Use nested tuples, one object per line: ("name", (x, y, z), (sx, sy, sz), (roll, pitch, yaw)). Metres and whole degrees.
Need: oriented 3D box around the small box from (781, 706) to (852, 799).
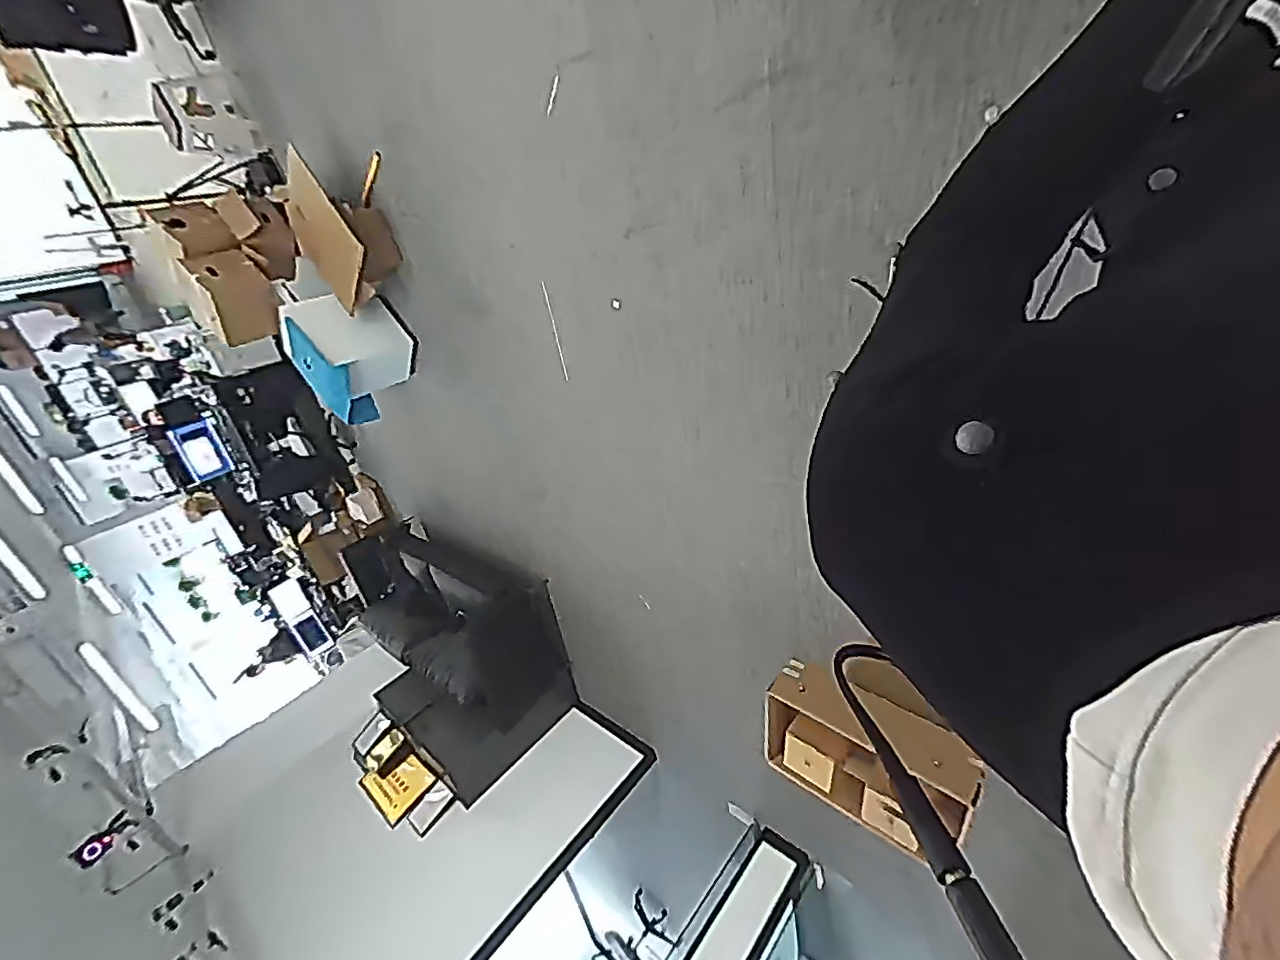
("small box", (0.586, 0.895, 1.790), (0.168, 0.176, 0.179), (21, 128, 37))
